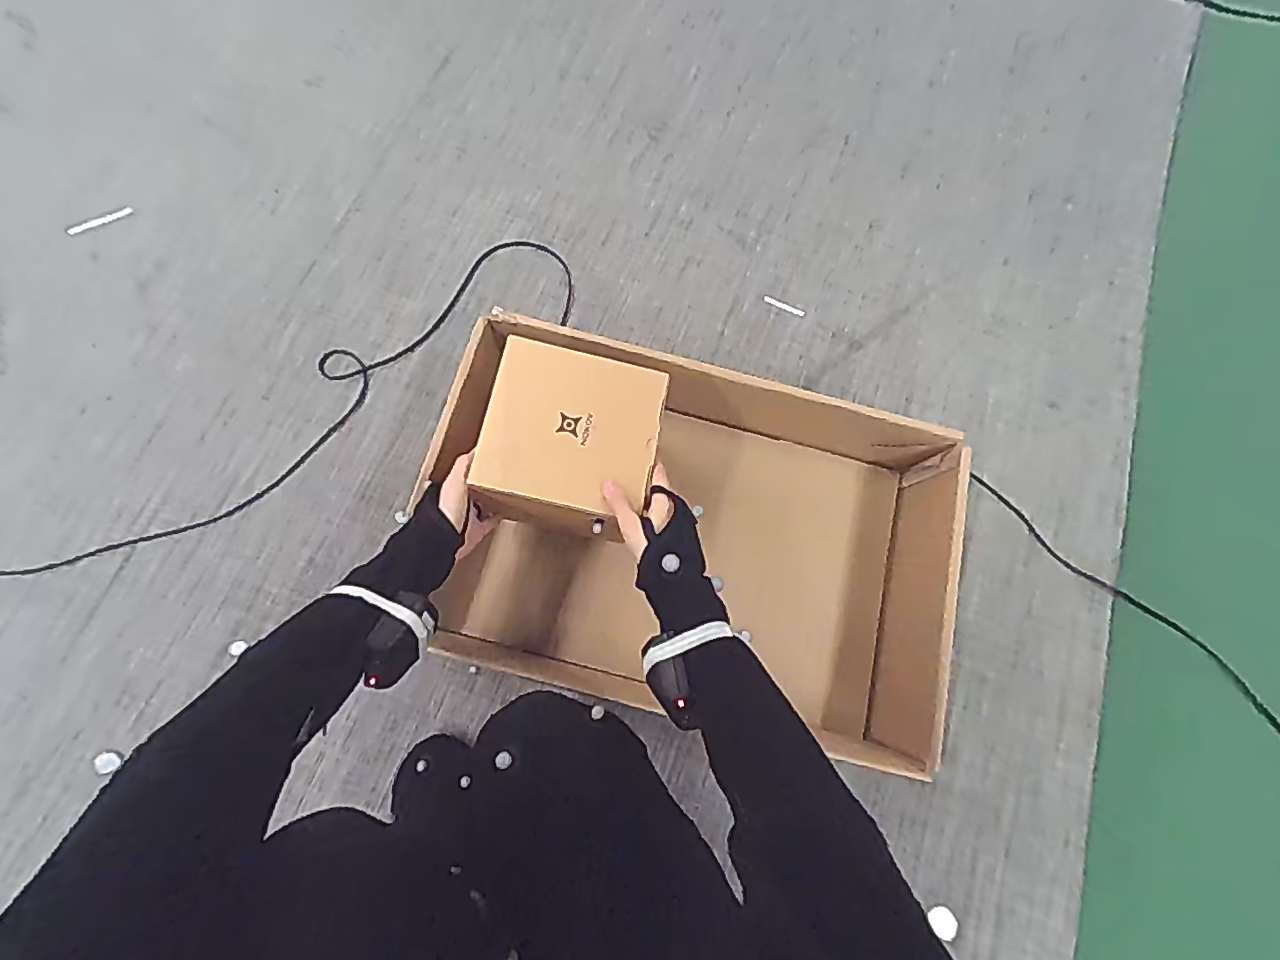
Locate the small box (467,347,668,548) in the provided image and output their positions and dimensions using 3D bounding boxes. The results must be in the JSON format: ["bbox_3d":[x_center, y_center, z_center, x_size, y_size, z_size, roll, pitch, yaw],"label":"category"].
[{"bbox_3d":[-0.081,-0.025,0.627,0.179,0.176,0.168,13,73,-6],"label":"small box"}]
